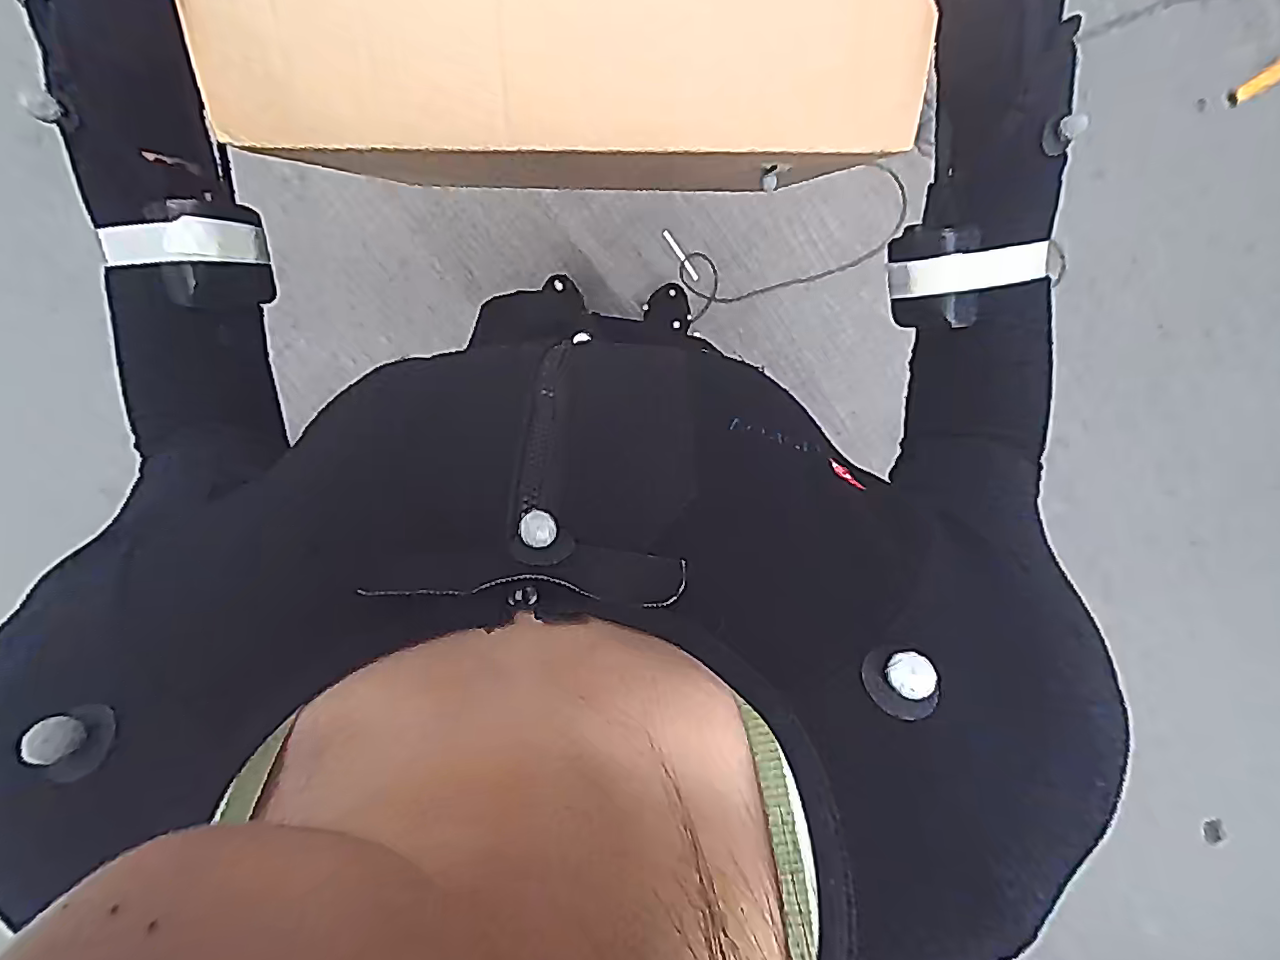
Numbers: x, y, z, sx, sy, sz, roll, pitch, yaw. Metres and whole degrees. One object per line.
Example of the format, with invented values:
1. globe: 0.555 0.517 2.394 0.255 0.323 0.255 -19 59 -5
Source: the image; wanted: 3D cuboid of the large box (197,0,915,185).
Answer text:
1. large box: -0.047 -0.404 0.398 0.408 0.320 0.320 -1 115 -1
